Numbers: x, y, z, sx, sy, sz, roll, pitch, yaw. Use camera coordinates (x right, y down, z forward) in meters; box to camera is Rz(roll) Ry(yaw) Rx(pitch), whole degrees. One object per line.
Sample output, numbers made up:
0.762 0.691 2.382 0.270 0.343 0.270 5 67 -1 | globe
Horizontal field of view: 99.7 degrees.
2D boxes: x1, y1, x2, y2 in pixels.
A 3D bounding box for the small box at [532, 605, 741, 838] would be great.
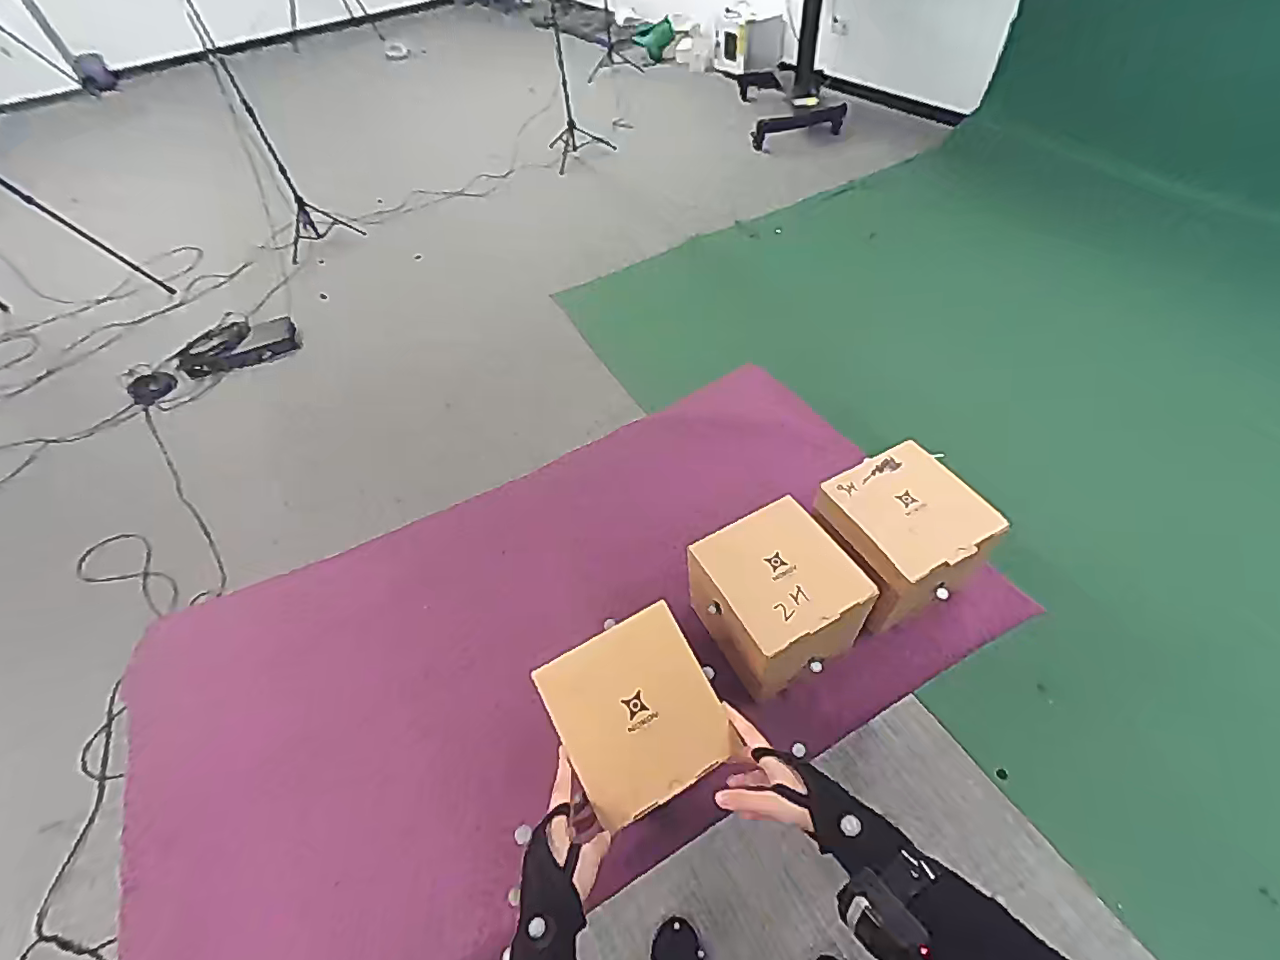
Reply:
-0.013 0.272 0.638 0.168 0.176 0.179 -26 75 -14 | small box
